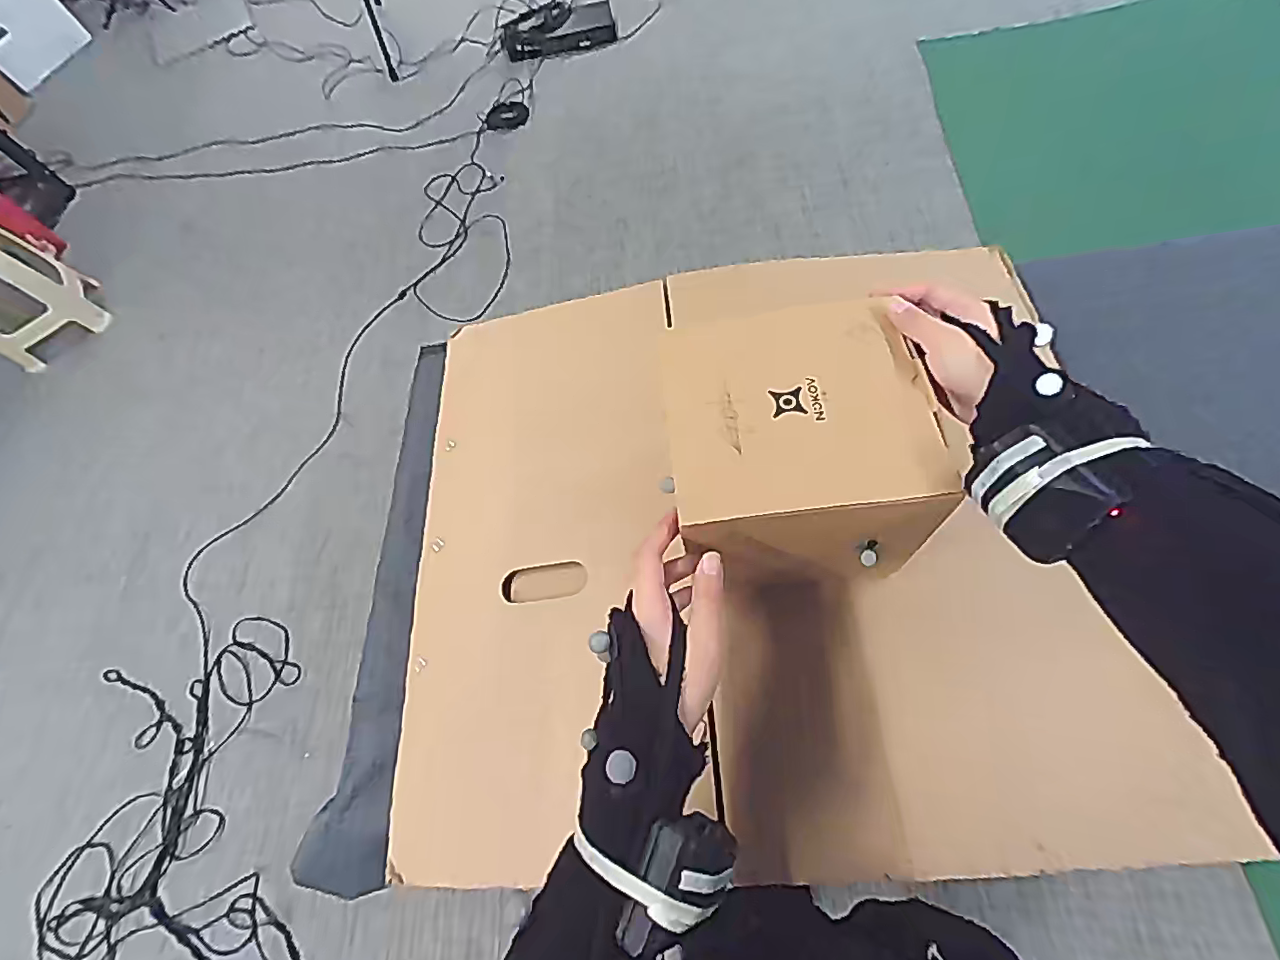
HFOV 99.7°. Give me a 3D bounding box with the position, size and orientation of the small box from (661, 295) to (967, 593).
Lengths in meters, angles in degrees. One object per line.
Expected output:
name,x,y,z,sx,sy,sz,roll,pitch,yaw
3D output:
small box,0.118,-0.017,0.437,0.179,0.176,0.168,-8,61,6
